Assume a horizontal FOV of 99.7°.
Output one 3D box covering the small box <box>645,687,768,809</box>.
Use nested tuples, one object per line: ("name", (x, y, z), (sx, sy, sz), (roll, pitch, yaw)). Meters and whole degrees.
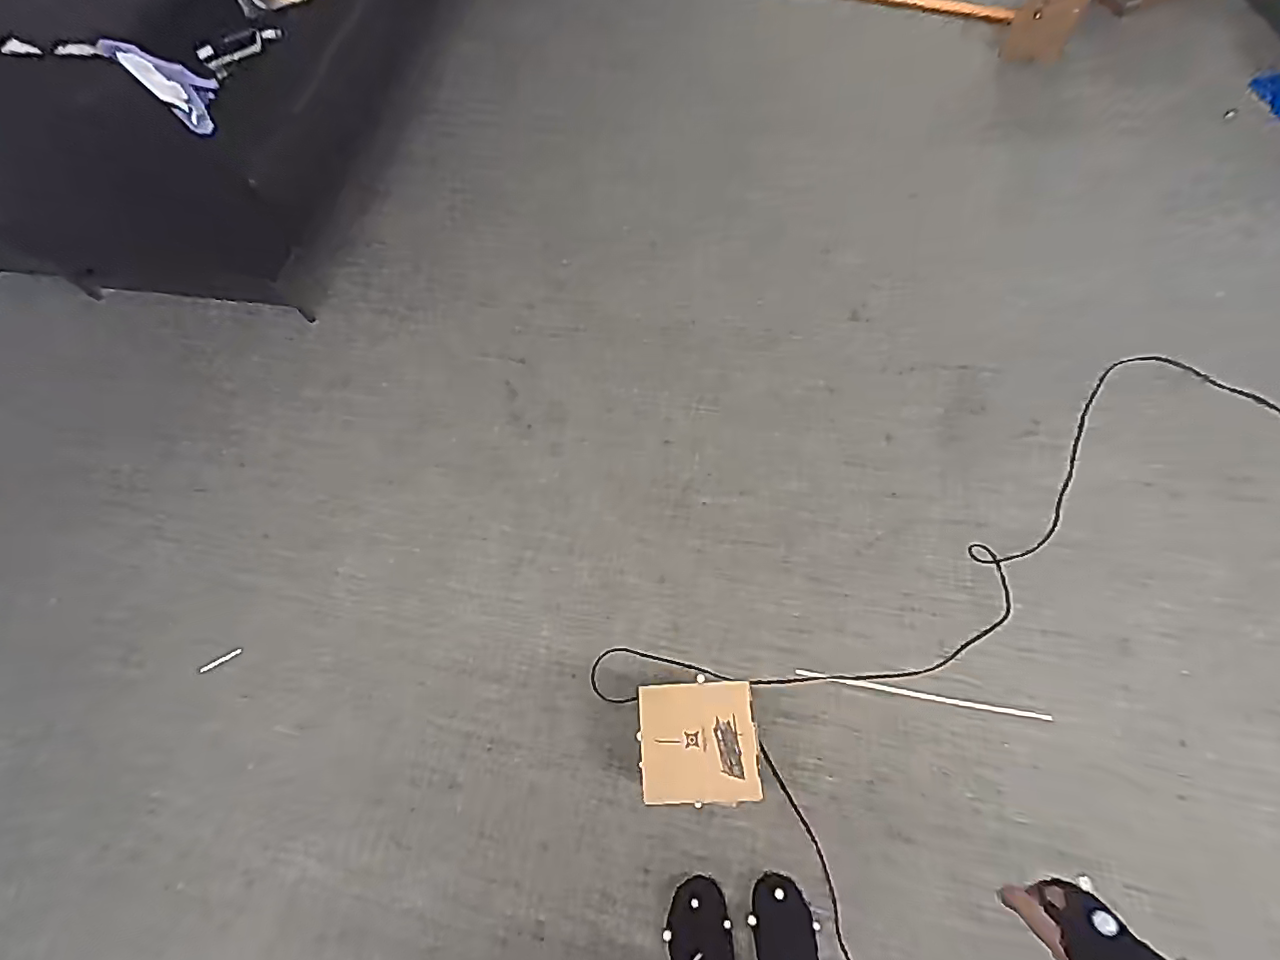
("small box", (0.106, 0.434, 0.893), (0.179, 0.176, 0.168), (-6, 66, 6))
